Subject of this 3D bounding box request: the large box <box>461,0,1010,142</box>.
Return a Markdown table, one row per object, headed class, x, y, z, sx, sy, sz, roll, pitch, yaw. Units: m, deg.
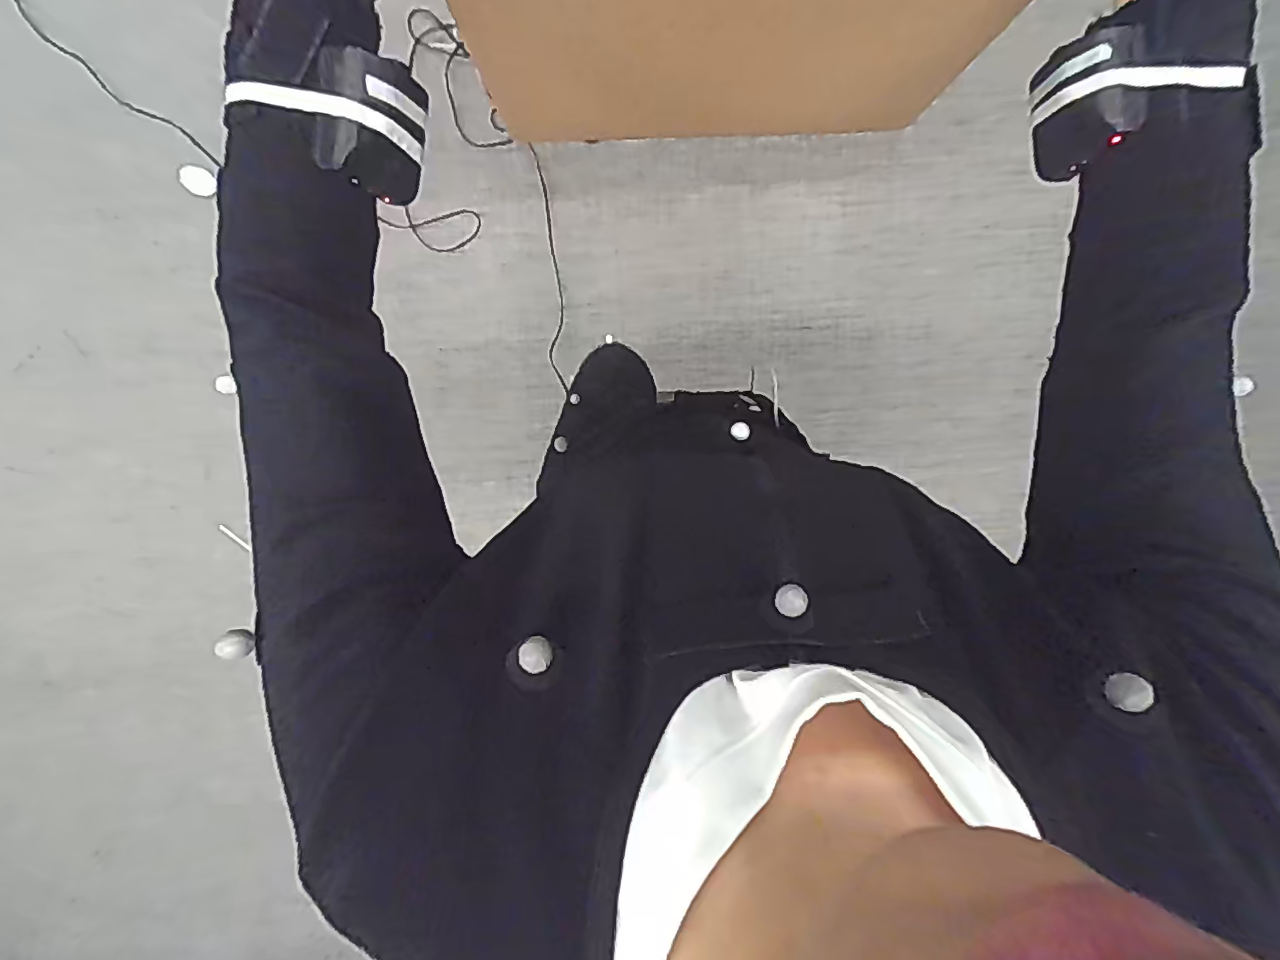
| class | x | y | z | sx | sy | sz | roll | pitch | yaw |
| --- | --- | --- | --- | --- | --- | --- | --- | --- | --- |
| large box | 0.065 | -0.485 | 0.388 | 0.408 | 0.320 | 0.320 | -3 | 99 | -1 |
